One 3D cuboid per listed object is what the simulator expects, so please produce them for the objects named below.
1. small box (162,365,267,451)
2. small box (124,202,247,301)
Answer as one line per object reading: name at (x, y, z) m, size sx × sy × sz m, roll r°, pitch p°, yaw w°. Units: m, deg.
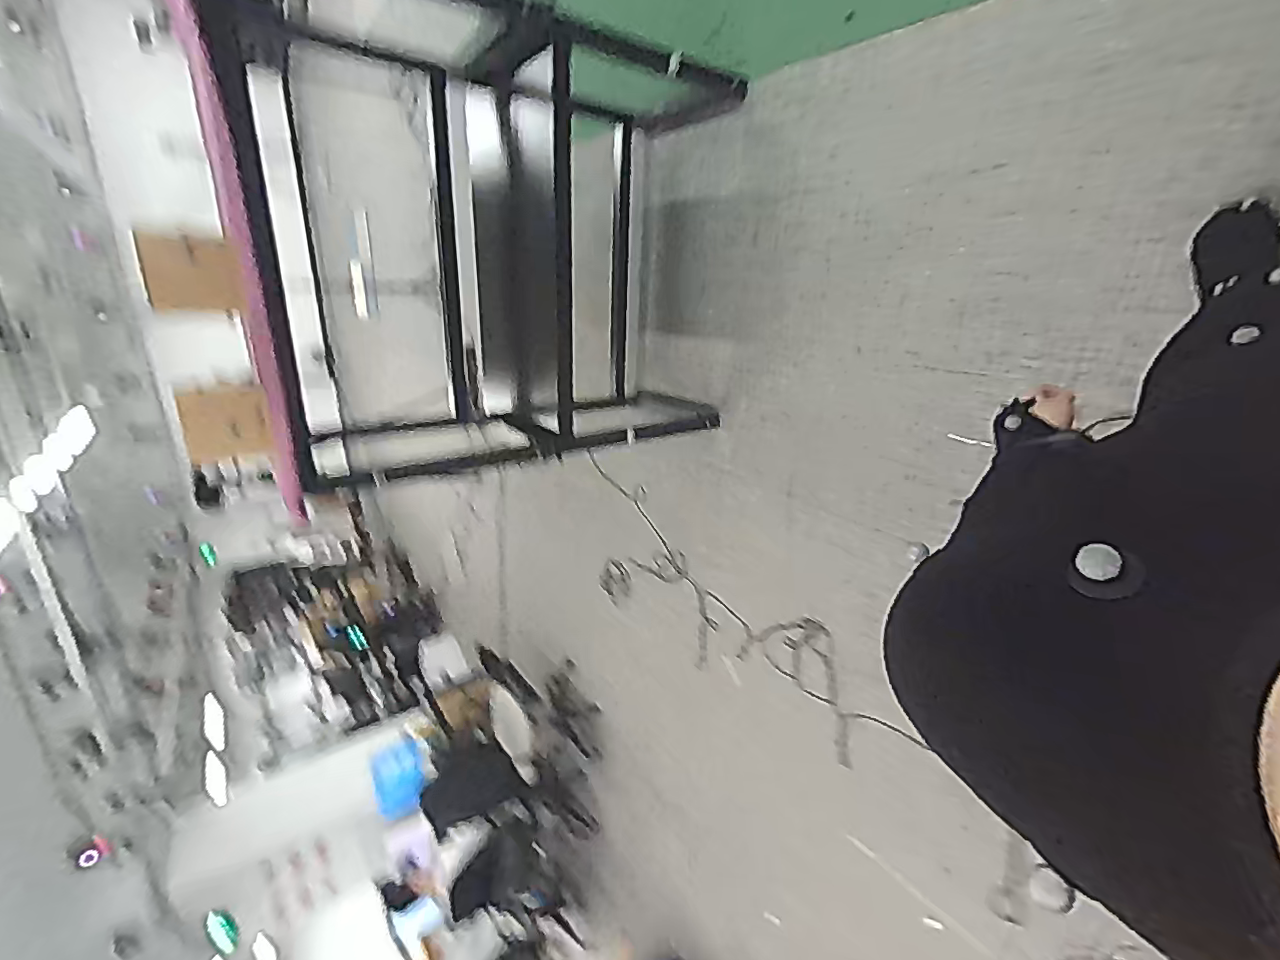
small box at (-0.980, -0.175, 1.255) m, size 0.179 × 0.176 × 0.168 m, roll 24°, pitch 117°, yaw 48°
small box at (-0.965, -0.481, 1.158) m, size 0.168 × 0.176 × 0.179 m, roll 25°, pitch 120°, yaw 49°
